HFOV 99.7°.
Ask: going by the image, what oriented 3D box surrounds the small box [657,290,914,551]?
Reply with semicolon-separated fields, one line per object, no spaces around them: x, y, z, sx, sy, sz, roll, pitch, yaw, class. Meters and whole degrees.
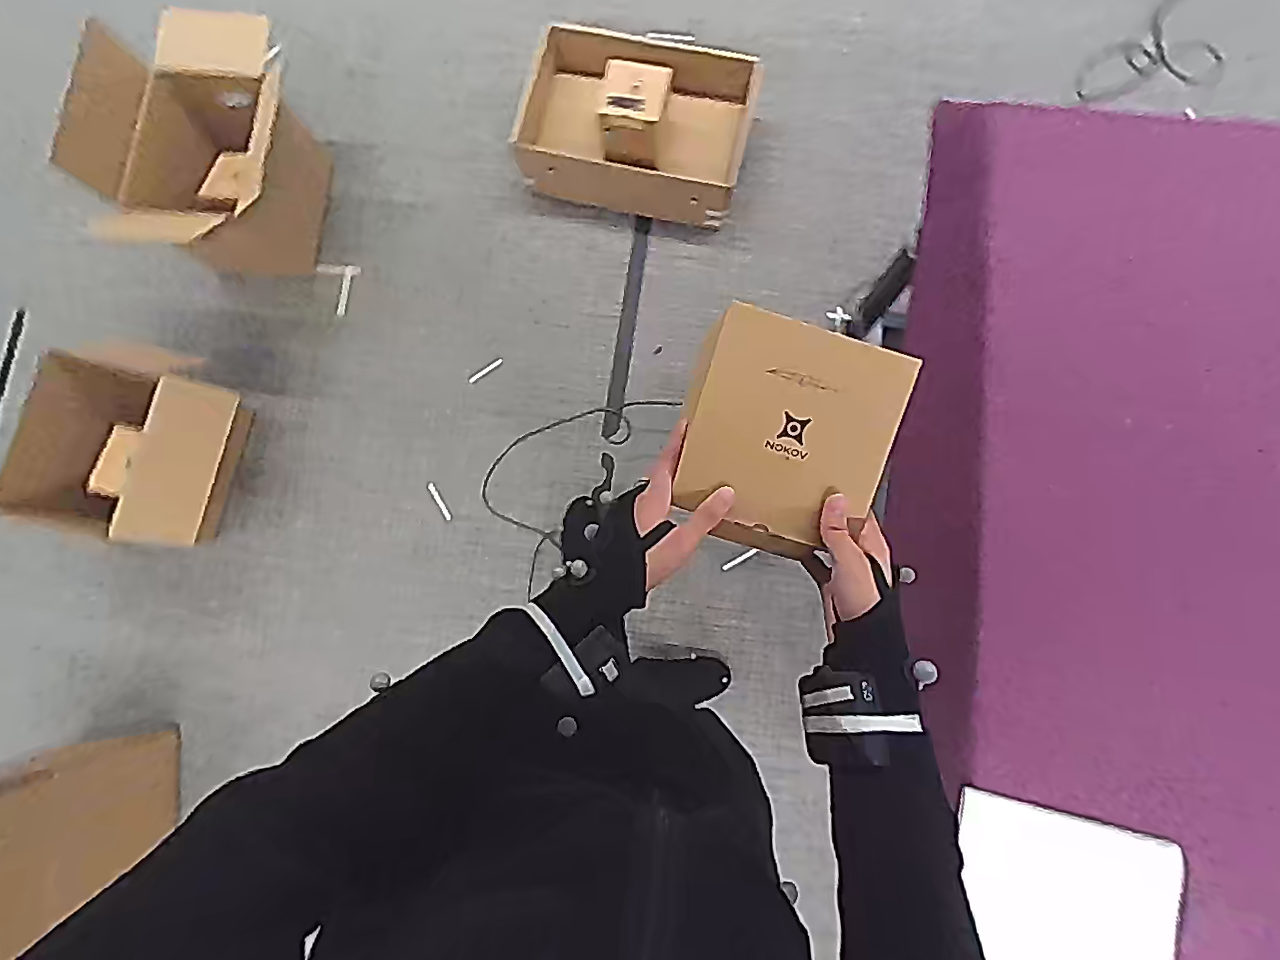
0.119;-0.054;0.518;0.168;0.176;0.179;17;95;-2;small box
